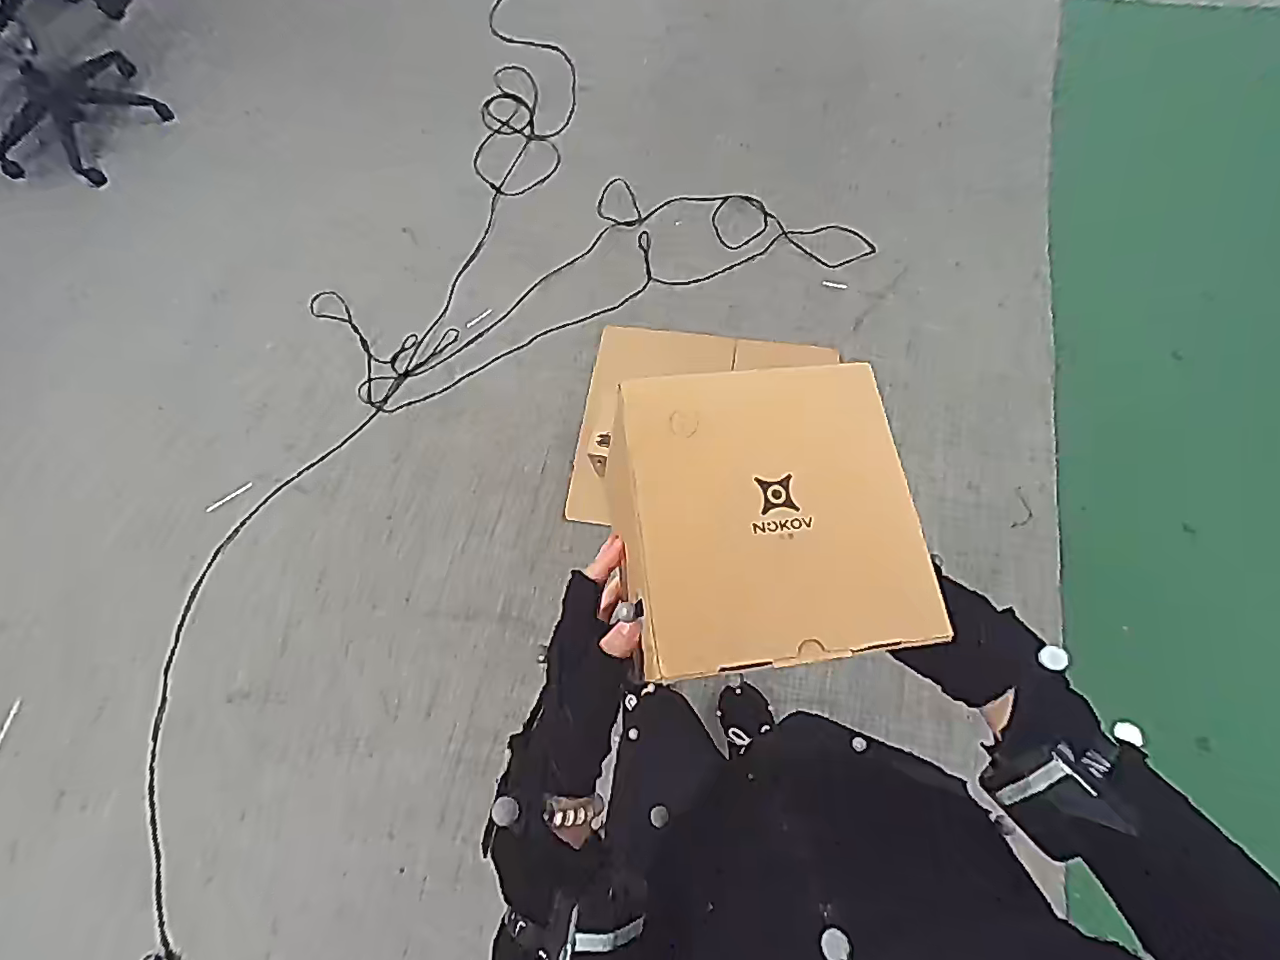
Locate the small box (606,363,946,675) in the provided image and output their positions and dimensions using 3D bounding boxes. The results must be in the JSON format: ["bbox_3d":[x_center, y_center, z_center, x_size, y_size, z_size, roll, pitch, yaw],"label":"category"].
[{"bbox_3d":[0.069,0.037,0.386,0.168,0.176,0.179,-6,73,-9],"label":"small box"}]
